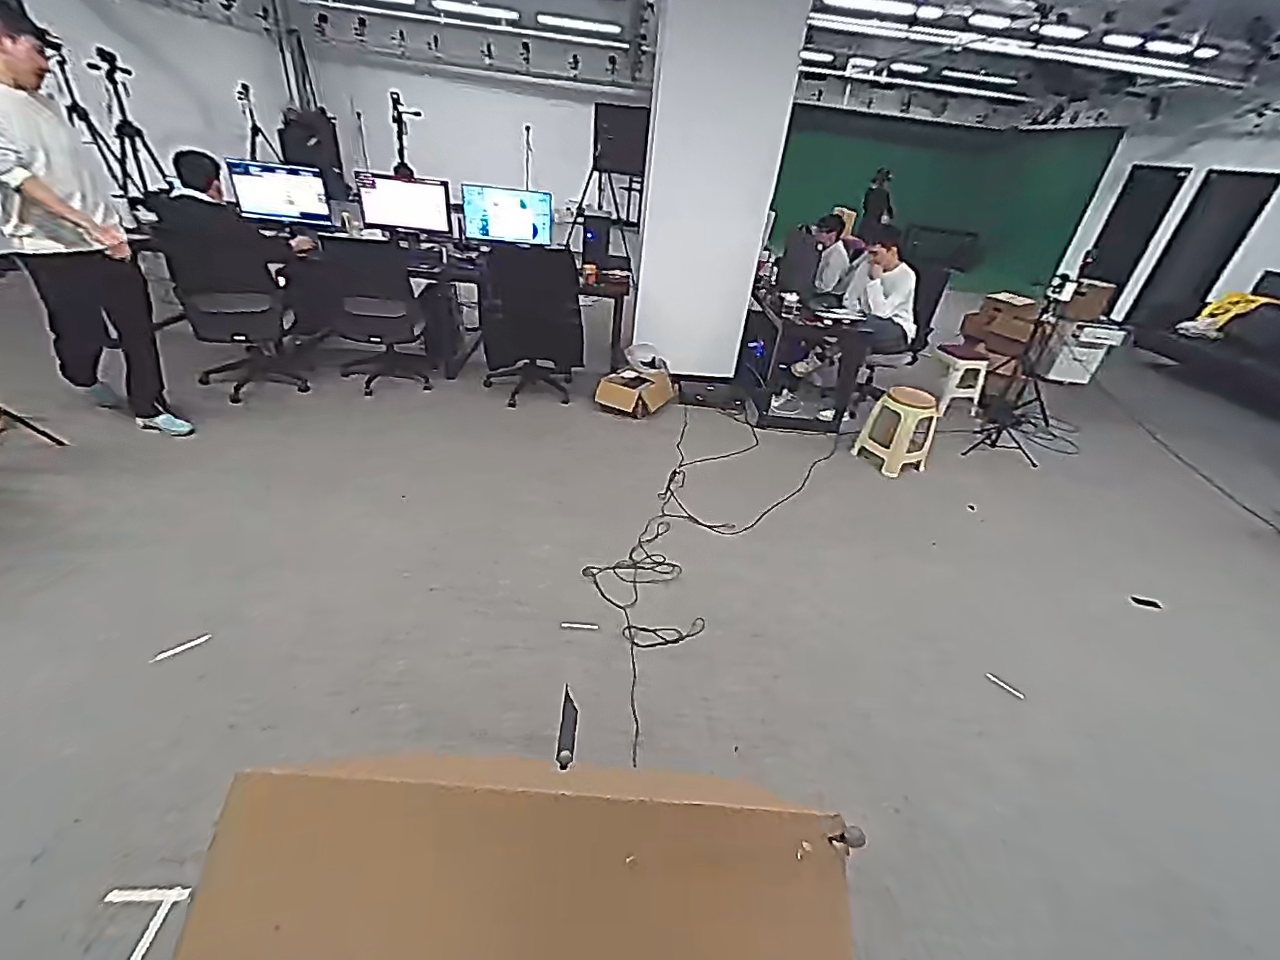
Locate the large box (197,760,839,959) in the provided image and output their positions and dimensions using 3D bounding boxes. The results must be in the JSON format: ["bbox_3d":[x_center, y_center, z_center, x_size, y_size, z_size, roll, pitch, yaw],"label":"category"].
[{"bbox_3d":[-0.084,0.417,0.444,0.408,0.320,0.320,5,67,-1],"label":"large box"}]
